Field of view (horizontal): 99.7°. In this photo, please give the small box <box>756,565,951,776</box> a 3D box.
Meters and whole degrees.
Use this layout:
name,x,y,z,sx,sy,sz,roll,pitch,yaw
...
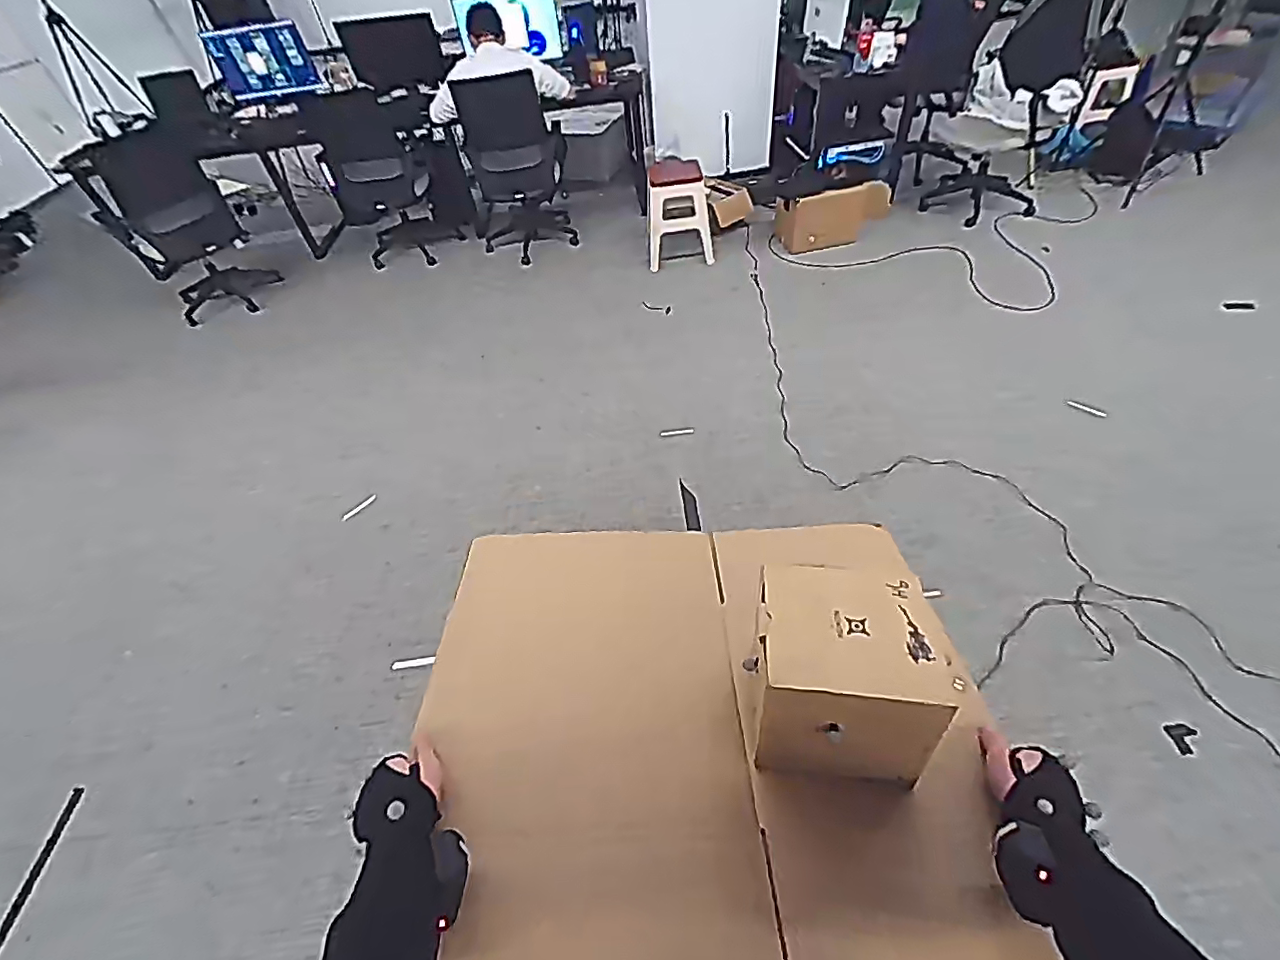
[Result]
name,x,y,z,sx,sy,sz,roll,pitch,yaw
small box,0.225,0.219,0.627,0.179,0.176,0.168,2,39,10
